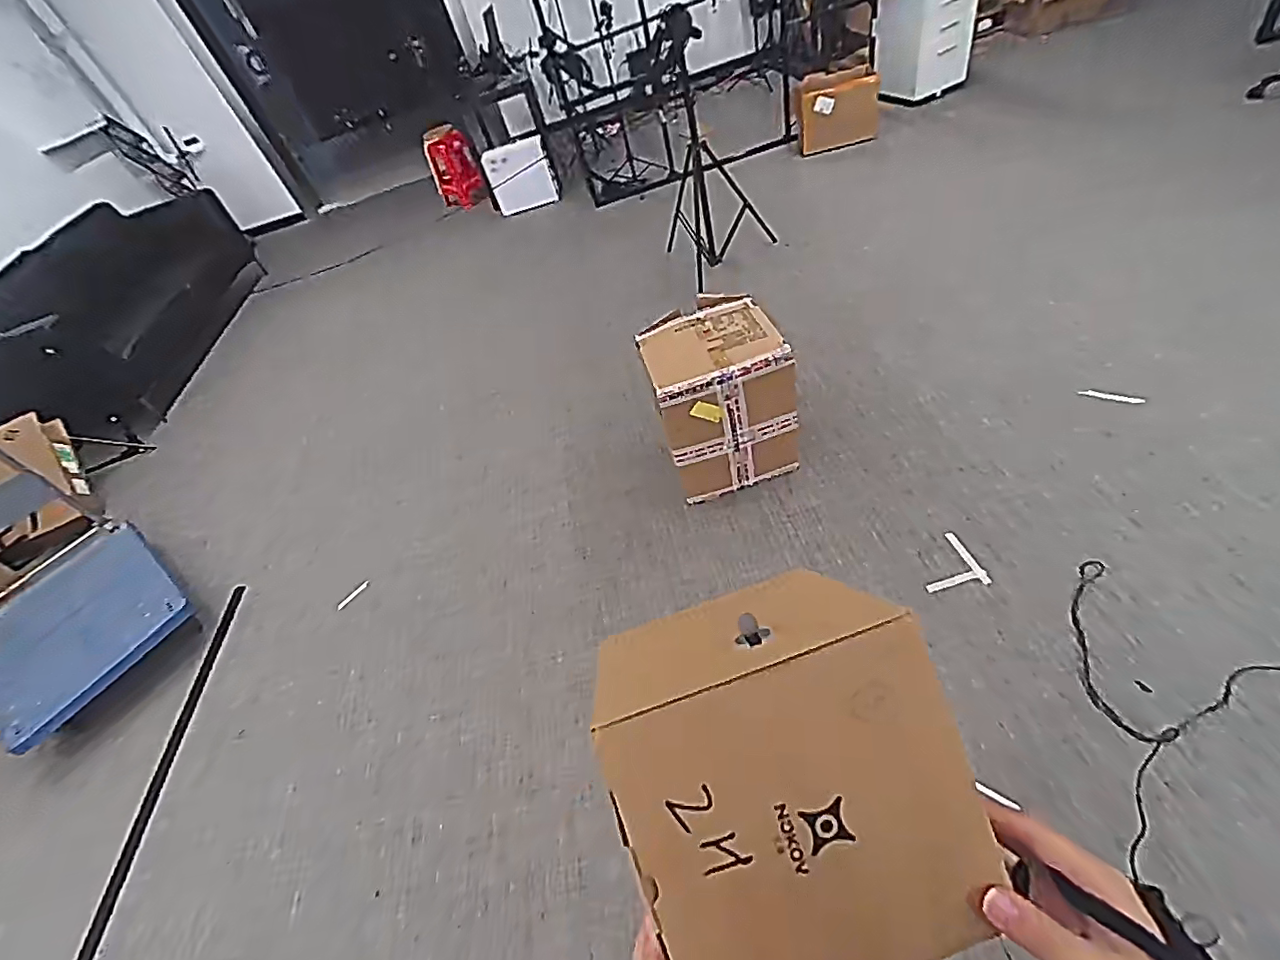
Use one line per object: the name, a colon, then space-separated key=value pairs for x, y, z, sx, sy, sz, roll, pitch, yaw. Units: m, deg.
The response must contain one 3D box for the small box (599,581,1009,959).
small box: x=0.080 y=0.177 z=0.353 sx=0.179 sy=0.176 sz=0.168 roll=-19 pitch=89 yaw=-3
